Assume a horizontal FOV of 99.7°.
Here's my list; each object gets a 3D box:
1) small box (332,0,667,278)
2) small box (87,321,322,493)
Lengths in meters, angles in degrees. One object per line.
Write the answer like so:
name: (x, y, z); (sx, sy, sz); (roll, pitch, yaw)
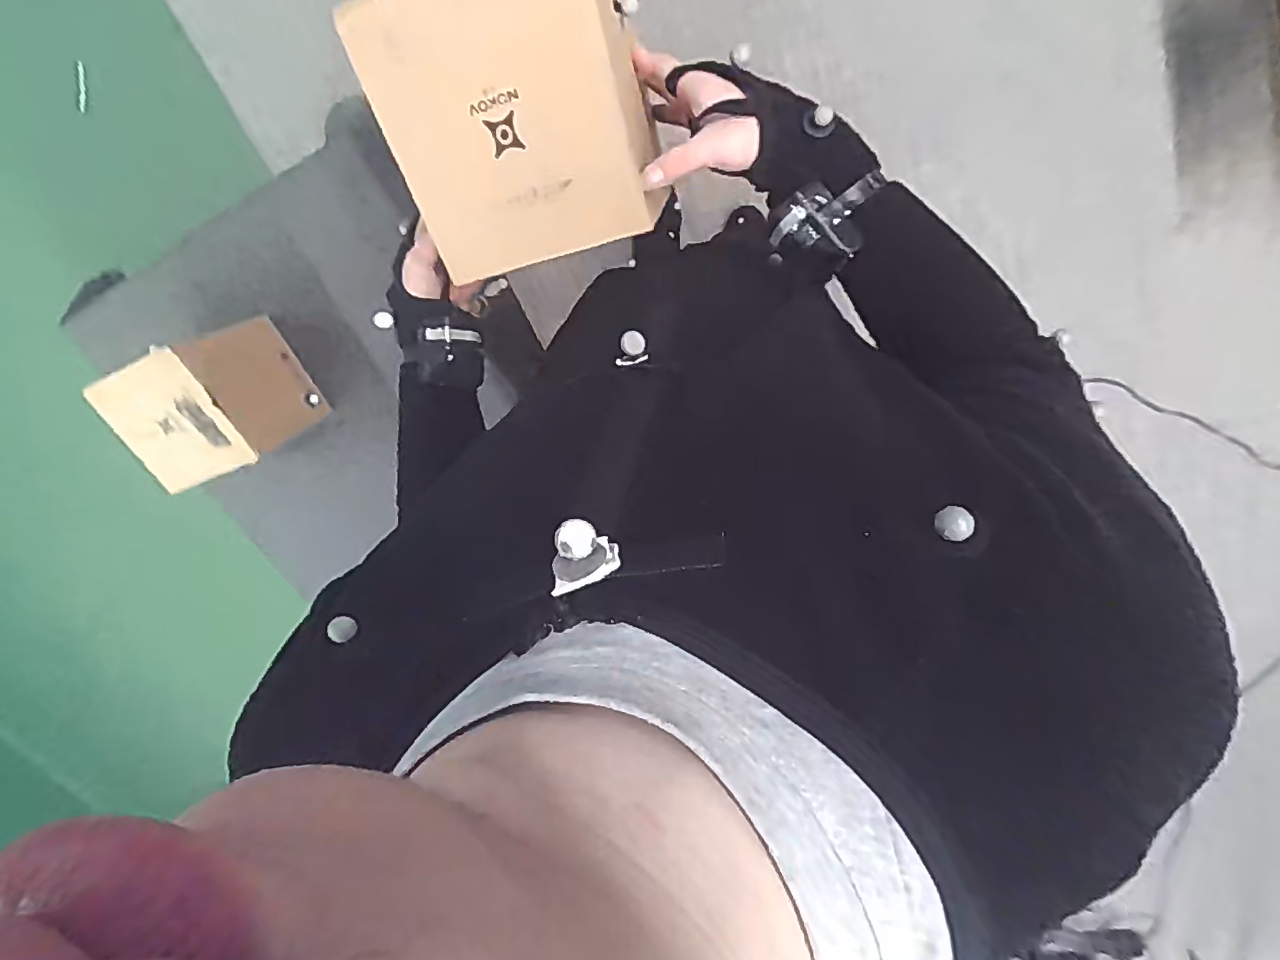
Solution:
small box: (-0.081, -0.282, 0.418); (0.168, 0.176, 0.179); (-8, 125, 15)
small box: (-0.603, -0.111, 0.781); (0.179, 0.176, 0.168); (-17, 116, 16)
